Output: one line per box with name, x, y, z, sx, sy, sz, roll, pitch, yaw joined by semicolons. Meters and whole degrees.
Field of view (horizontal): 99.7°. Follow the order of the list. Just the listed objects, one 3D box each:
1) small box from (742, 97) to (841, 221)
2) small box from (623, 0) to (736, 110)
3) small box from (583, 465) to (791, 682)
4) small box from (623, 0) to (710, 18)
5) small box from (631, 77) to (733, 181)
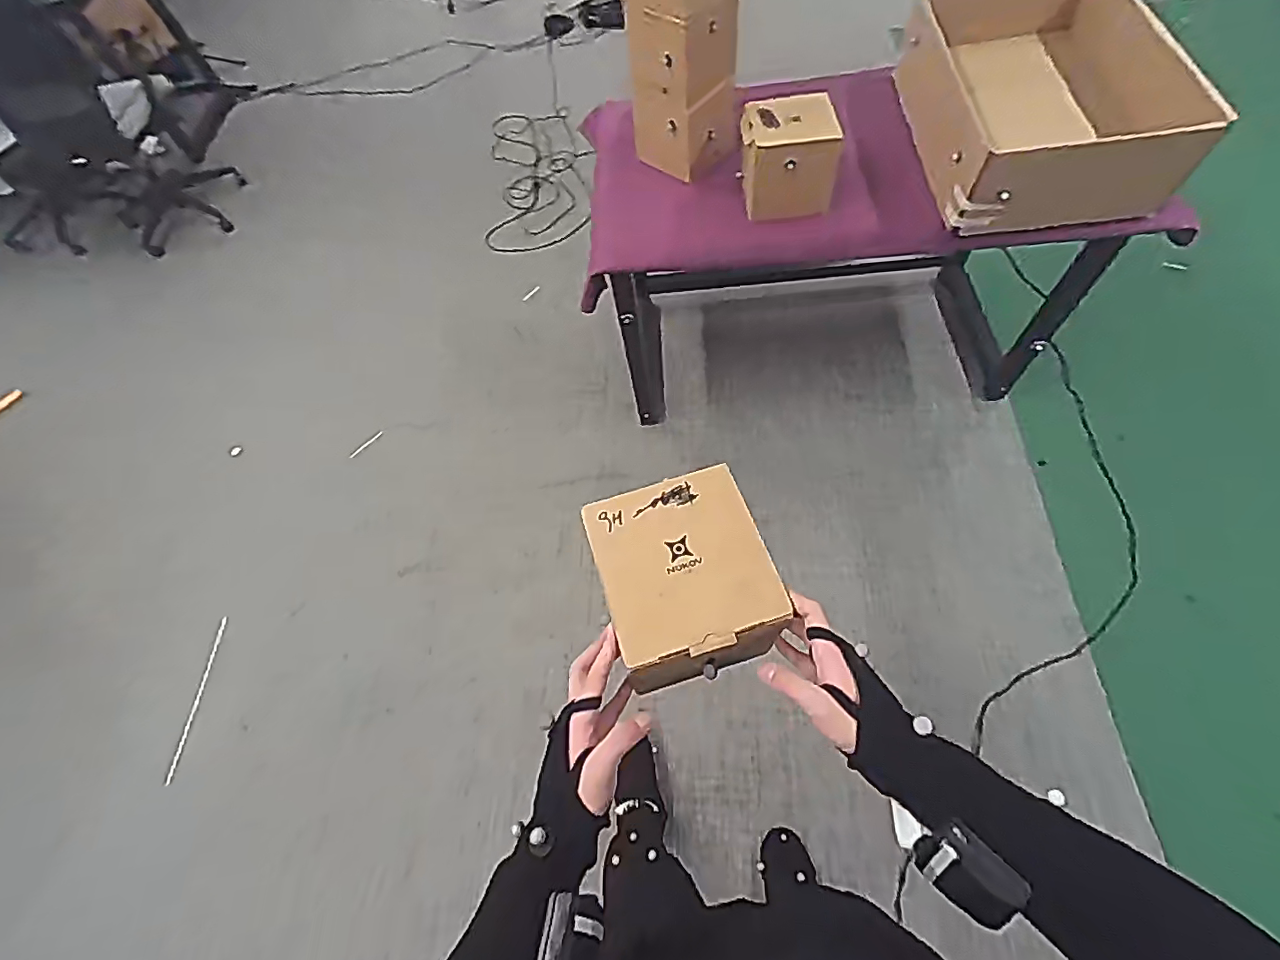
small box;0.318;-0.692;1.178;0.179;0.176;0.168;-5;62;4
small box;0.090;-0.928;1.144;0.168;0.176;0.179;38;73;21
small box;0.046;0.114;0.602;0.168;0.176;0.179;-16;62;-5
small box;0.069;-1.001;1.002;0.179;0.176;0.168;36;73;21
small box;0.102;-0.851;1.287;0.179;0.176;0.168;38;73;22
